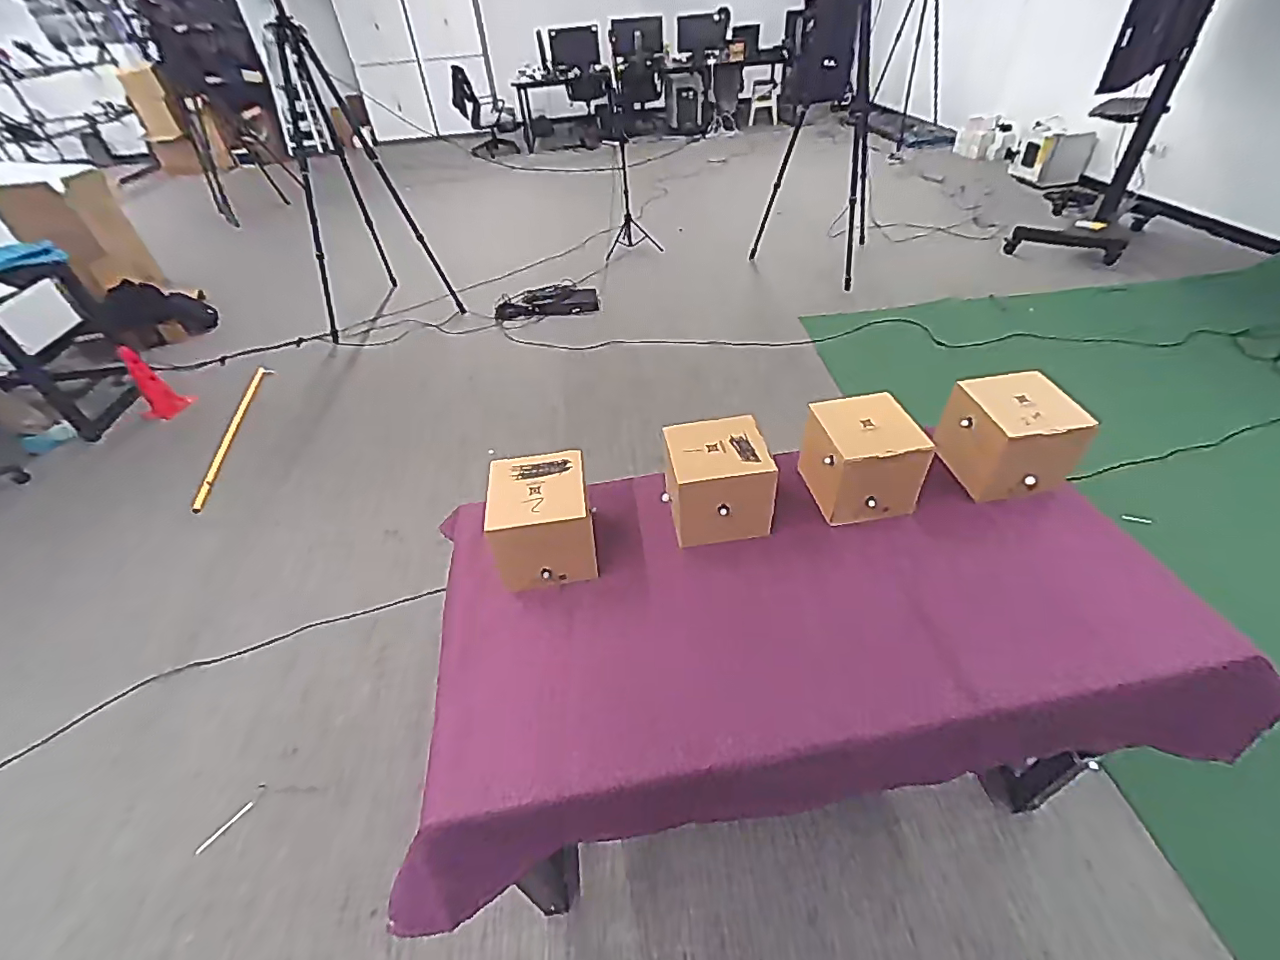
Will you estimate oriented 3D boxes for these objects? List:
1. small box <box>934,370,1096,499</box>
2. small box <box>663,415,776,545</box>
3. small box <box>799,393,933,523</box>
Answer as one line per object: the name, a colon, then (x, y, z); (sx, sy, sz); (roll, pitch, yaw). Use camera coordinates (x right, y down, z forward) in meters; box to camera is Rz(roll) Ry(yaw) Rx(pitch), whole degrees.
small box: (0.706, -0.087, 1.049); (0.168, 0.176, 0.179); (-8, 45, -1)
small box: (0.143, 0.002, 1.023); (0.179, 0.176, 0.168); (-9, 43, -2)
small box: (0.420, -0.043, 1.043); (0.168, 0.176, 0.179); (-9, 44, -3)
